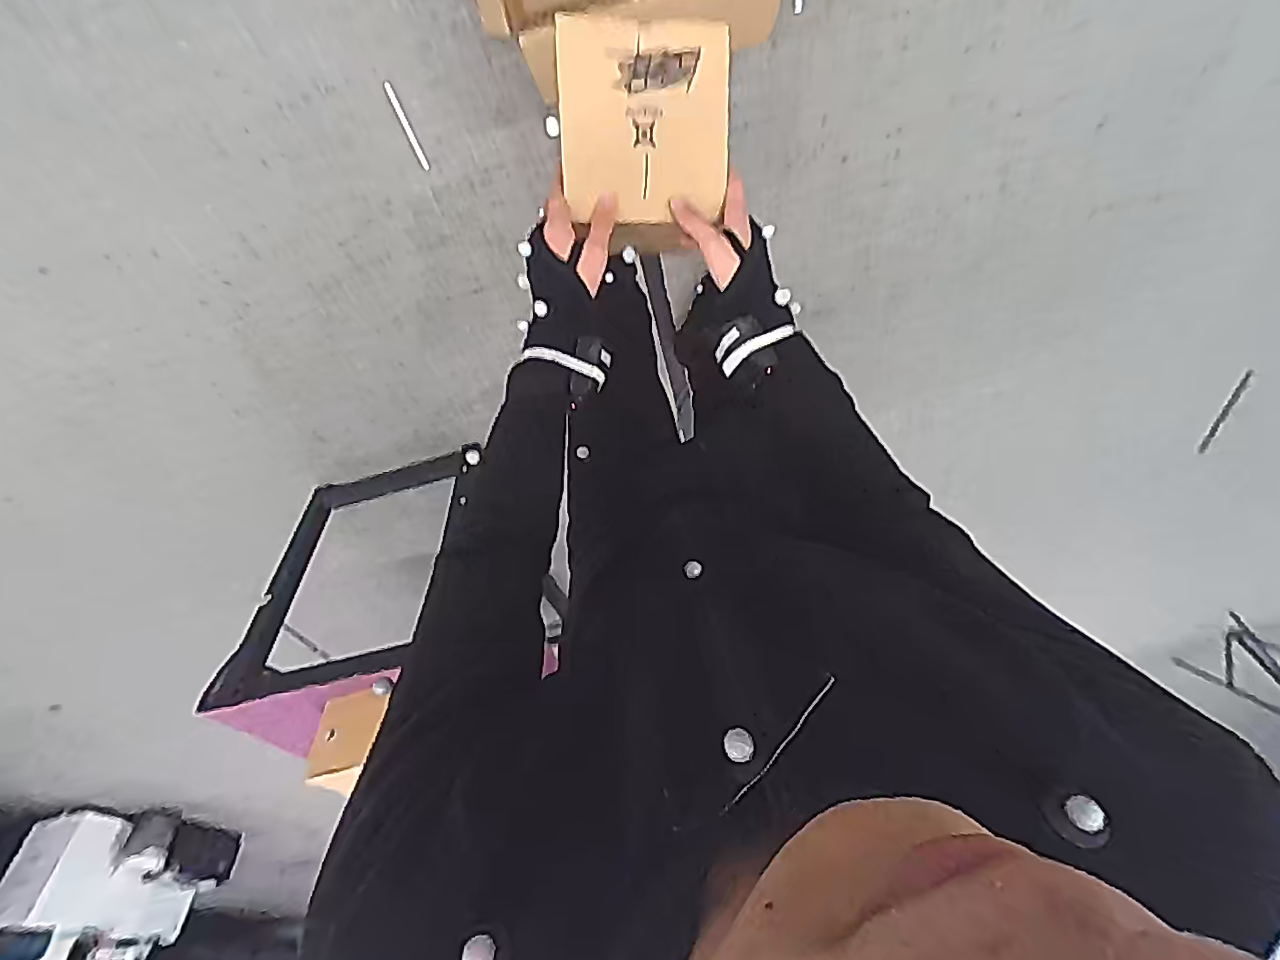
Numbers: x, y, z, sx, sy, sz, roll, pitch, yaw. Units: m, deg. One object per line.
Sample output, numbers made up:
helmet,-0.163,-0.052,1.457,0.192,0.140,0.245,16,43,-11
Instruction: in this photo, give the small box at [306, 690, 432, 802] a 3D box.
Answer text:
small box,-0.599,0.600,1.222,0.179,0.176,0.168,-17,135,9

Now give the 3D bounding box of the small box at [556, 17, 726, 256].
small box,-0.008,-0.360,0.601,0.168,0.176,0.179,-3,103,-7
